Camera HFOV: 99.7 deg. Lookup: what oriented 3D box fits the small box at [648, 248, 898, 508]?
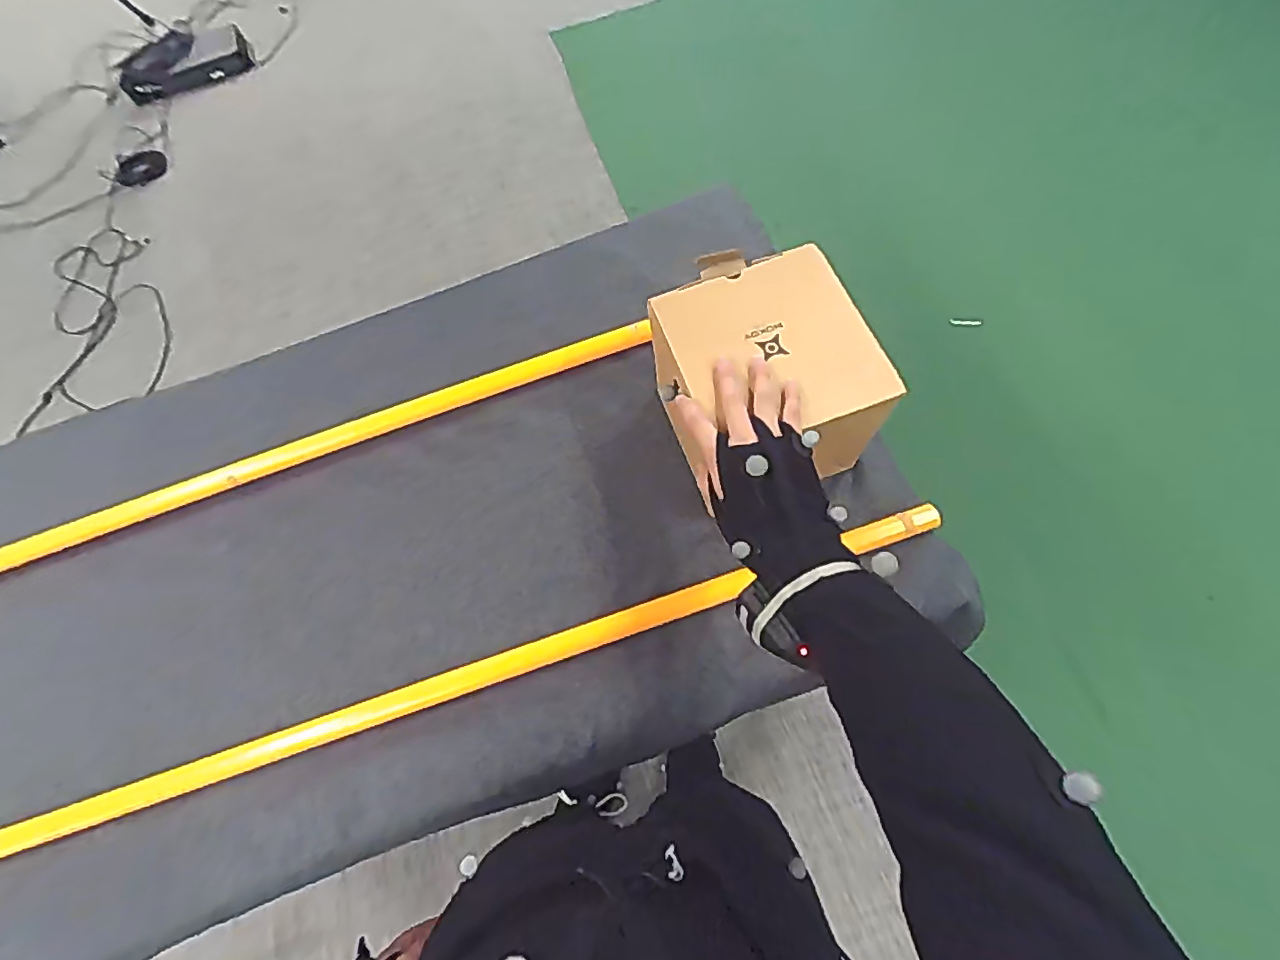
[{"bbox_3d":[0.118,-0.086,0.543,0.168,0.176,0.179,-20,67,-2],"label":"small box"}]
